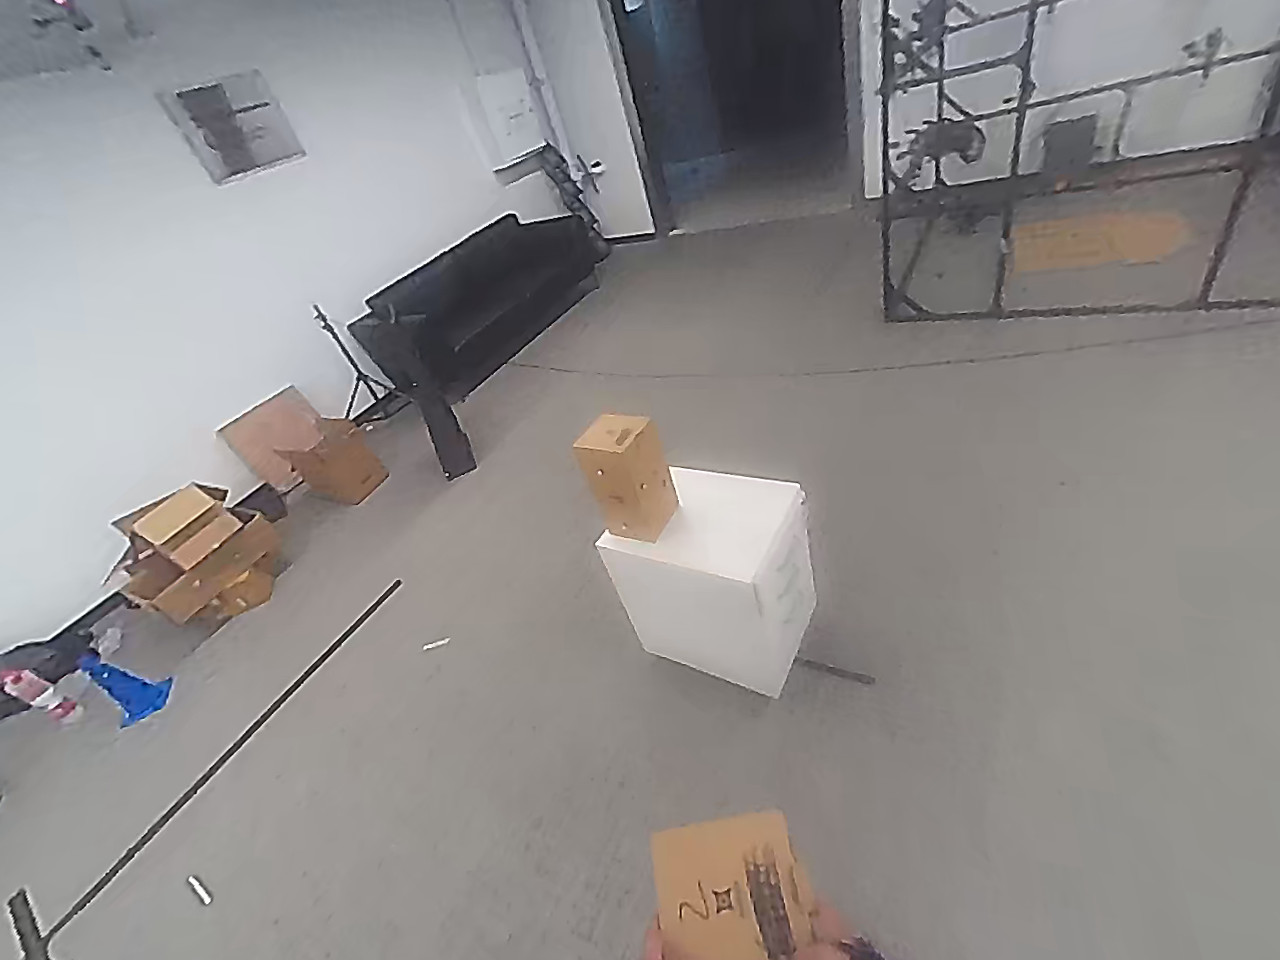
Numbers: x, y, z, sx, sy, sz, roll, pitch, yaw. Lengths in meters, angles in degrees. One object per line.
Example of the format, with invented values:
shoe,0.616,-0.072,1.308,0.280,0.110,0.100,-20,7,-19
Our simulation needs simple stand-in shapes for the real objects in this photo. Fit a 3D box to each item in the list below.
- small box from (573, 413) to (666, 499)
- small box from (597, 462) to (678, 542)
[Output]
small box,-0.050,-0.066,1.504,0.179,0.176,0.168,8,44,34
small box,0.000,0.055,1.603,0.168,0.176,0.179,8,45,33
